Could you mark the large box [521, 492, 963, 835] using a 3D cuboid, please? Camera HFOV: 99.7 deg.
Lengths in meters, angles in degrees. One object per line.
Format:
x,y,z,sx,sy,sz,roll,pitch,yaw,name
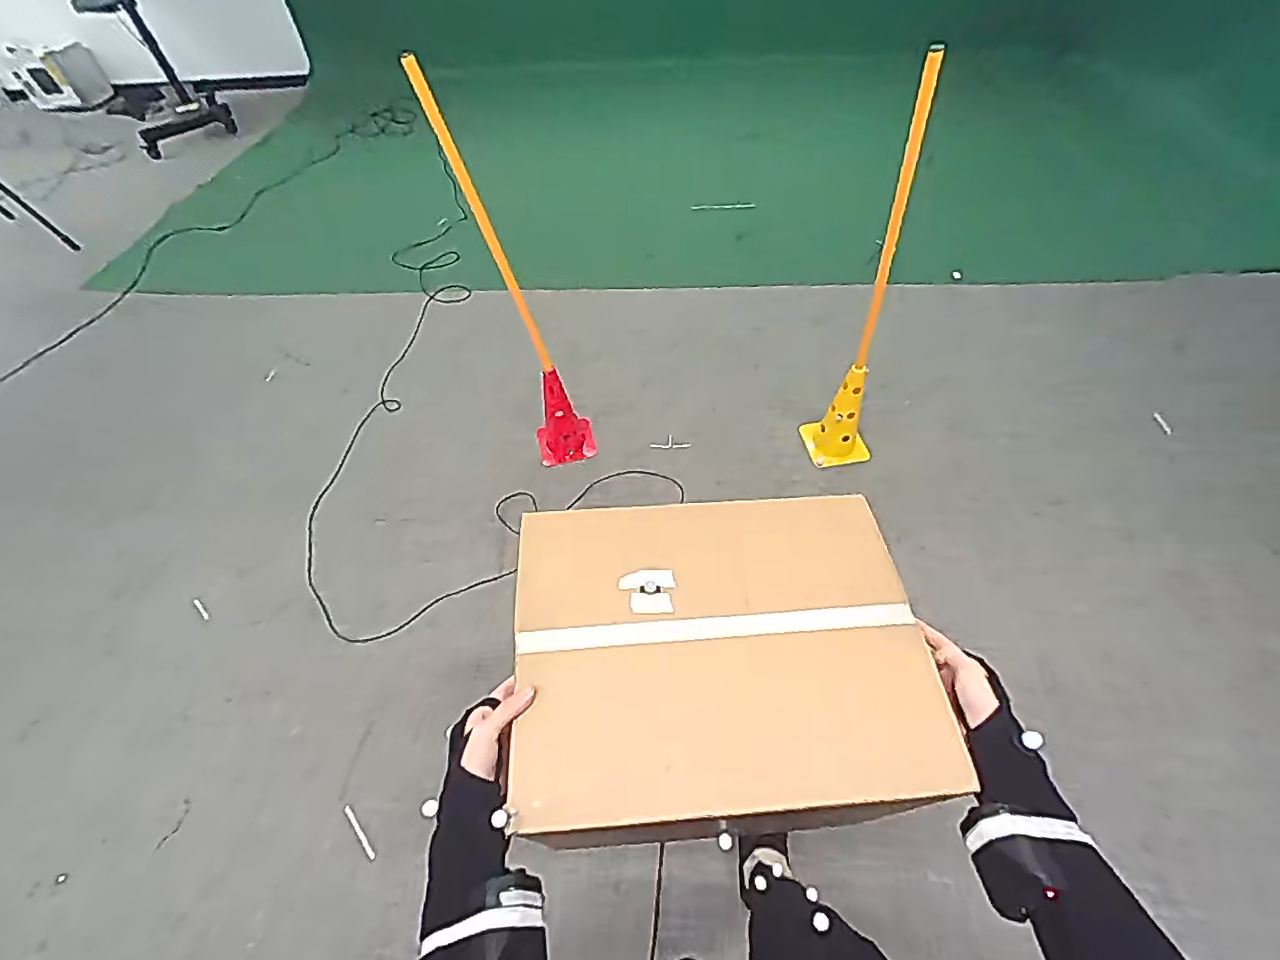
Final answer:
0.083,0.240,0.679,0.408,0.320,0.320,-4,53,-3,large box
